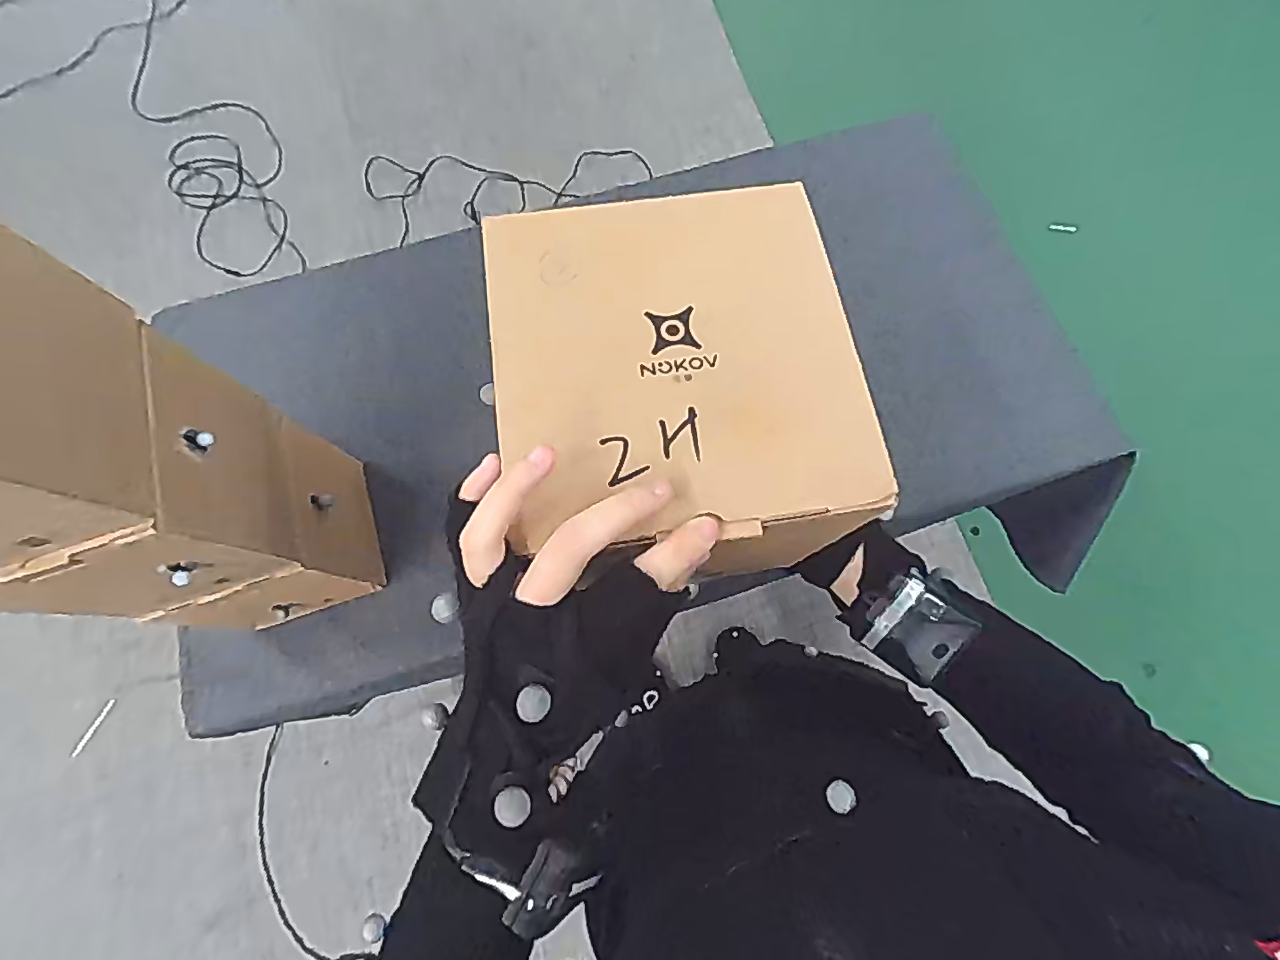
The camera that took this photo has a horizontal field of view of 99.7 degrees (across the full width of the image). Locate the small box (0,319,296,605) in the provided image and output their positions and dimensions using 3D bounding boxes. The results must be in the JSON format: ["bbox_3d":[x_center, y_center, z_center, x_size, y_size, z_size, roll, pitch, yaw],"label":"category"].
[{"bbox_3d":[-0.425,0.001,0.458,0.168,0.176,0.179,-17,74,-4],"label":"small box"}]

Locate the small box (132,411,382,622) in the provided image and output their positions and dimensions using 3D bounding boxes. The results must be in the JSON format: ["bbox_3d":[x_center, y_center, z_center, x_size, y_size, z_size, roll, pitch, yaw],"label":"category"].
[{"bbox_3d":[-0.421,0.052,0.613,0.168,0.176,0.179,-18,74,-4],"label":"small box"}]

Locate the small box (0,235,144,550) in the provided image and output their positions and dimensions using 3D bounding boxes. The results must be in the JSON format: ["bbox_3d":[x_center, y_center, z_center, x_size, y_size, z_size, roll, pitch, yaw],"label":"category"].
[{"bbox_3d":[-0.432,-0.052,0.303,0.168,0.176,0.179,-19,74,-5],"label":"small box"}]

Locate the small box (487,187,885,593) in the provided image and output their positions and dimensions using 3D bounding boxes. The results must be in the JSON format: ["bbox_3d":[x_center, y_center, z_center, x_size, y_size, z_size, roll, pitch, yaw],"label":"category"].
[{"bbox_3d":[0.011,-0.037,0.323,0.168,0.176,0.179,-6,73,-3],"label":"small box"}]
